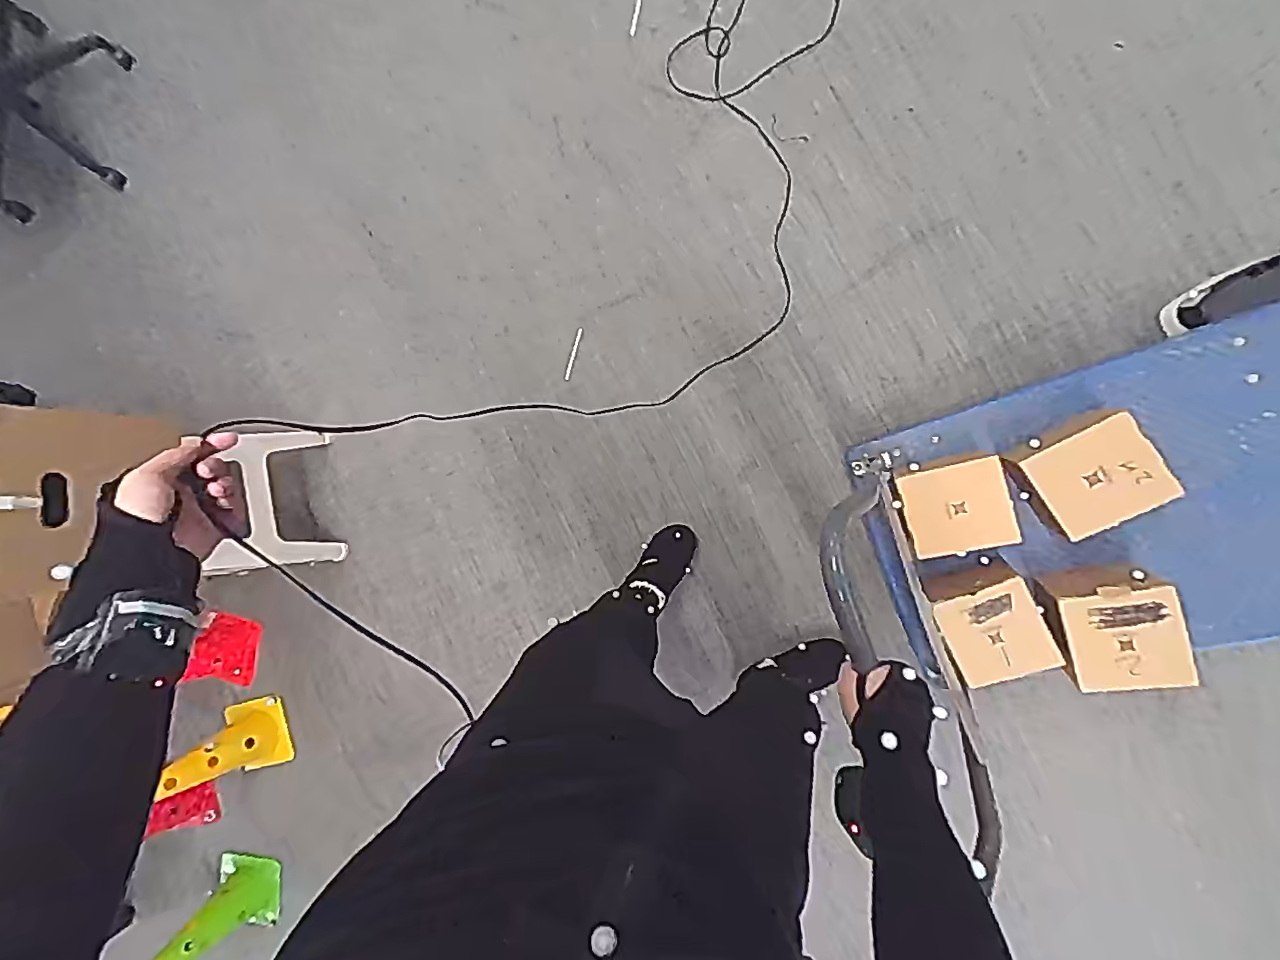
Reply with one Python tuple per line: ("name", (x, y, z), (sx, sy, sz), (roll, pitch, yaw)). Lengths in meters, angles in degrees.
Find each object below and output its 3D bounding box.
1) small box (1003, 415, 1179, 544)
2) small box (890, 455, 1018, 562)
("small box", (0.802, -0.004, 0.991), (0.179, 0.176, 0.168), (-32, 84, 22))
("small box", (0.613, 0.051, 1.077), (0.179, 0.176, 0.168), (-15, 90, 24))
